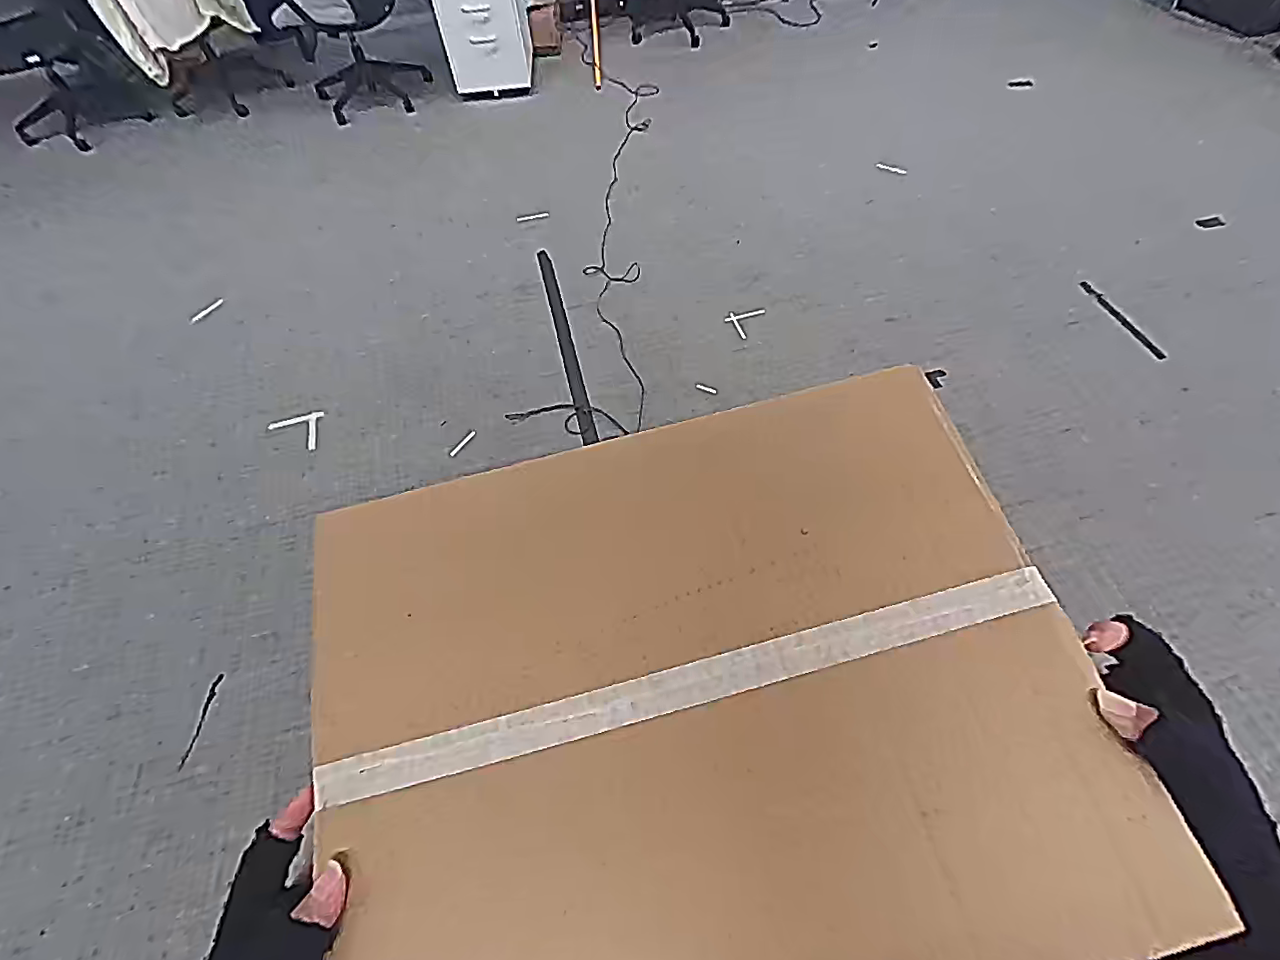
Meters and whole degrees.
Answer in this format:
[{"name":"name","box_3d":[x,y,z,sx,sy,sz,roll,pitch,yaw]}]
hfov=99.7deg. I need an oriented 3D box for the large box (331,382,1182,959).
[{"name":"large box","box_3d":[0.038,0.176,0.437,0.408,0.320,0.320,-15,65,-2]}]
